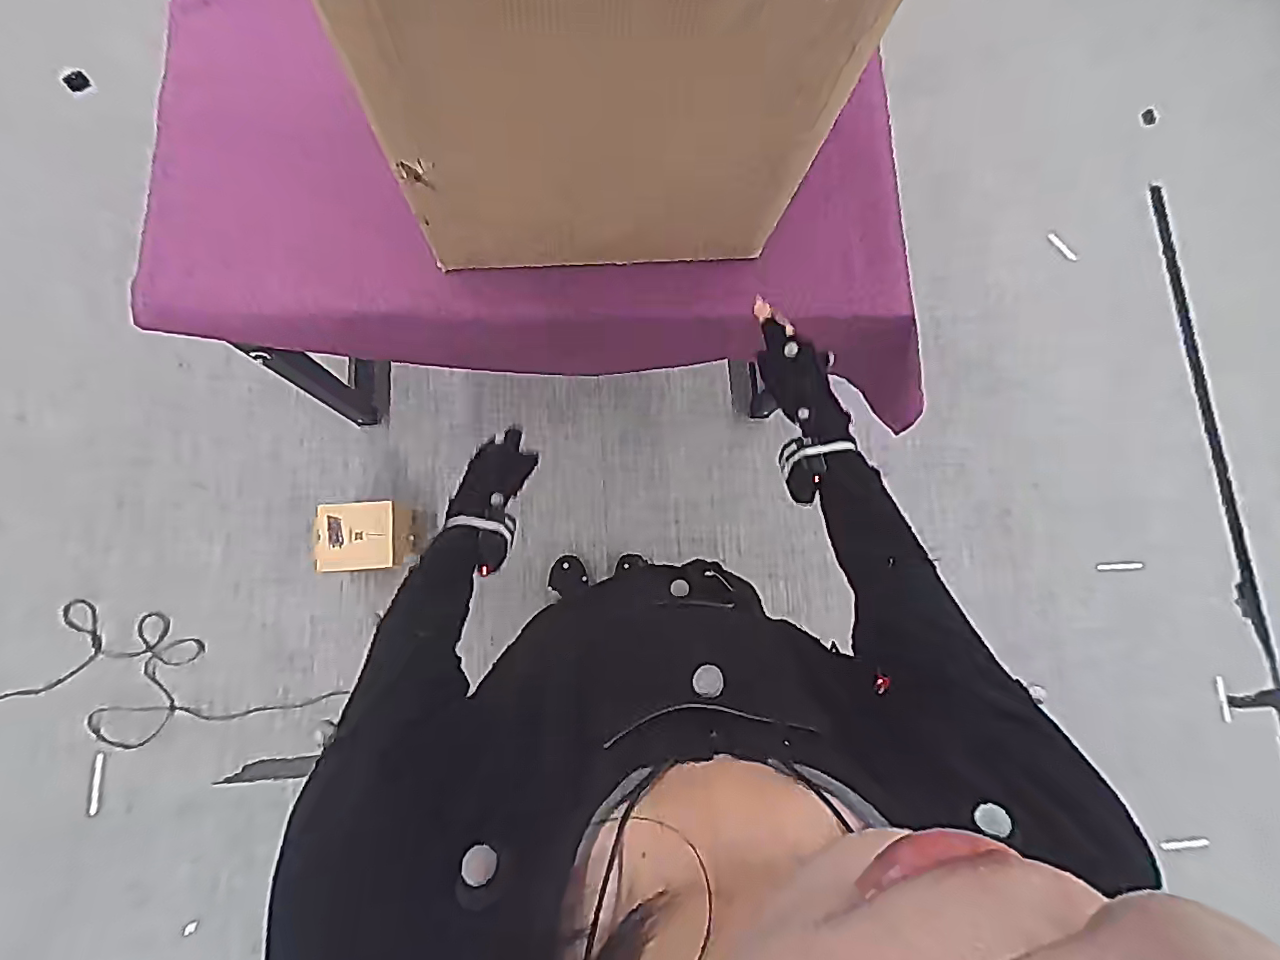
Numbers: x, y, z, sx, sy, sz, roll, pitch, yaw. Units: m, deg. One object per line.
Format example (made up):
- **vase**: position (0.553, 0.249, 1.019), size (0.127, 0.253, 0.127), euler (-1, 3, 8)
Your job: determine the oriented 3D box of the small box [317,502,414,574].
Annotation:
- **small box**: position (-0.694, 0.152, 1.382), size (0.179, 0.176, 0.168), euler (-3, 81, -8)
